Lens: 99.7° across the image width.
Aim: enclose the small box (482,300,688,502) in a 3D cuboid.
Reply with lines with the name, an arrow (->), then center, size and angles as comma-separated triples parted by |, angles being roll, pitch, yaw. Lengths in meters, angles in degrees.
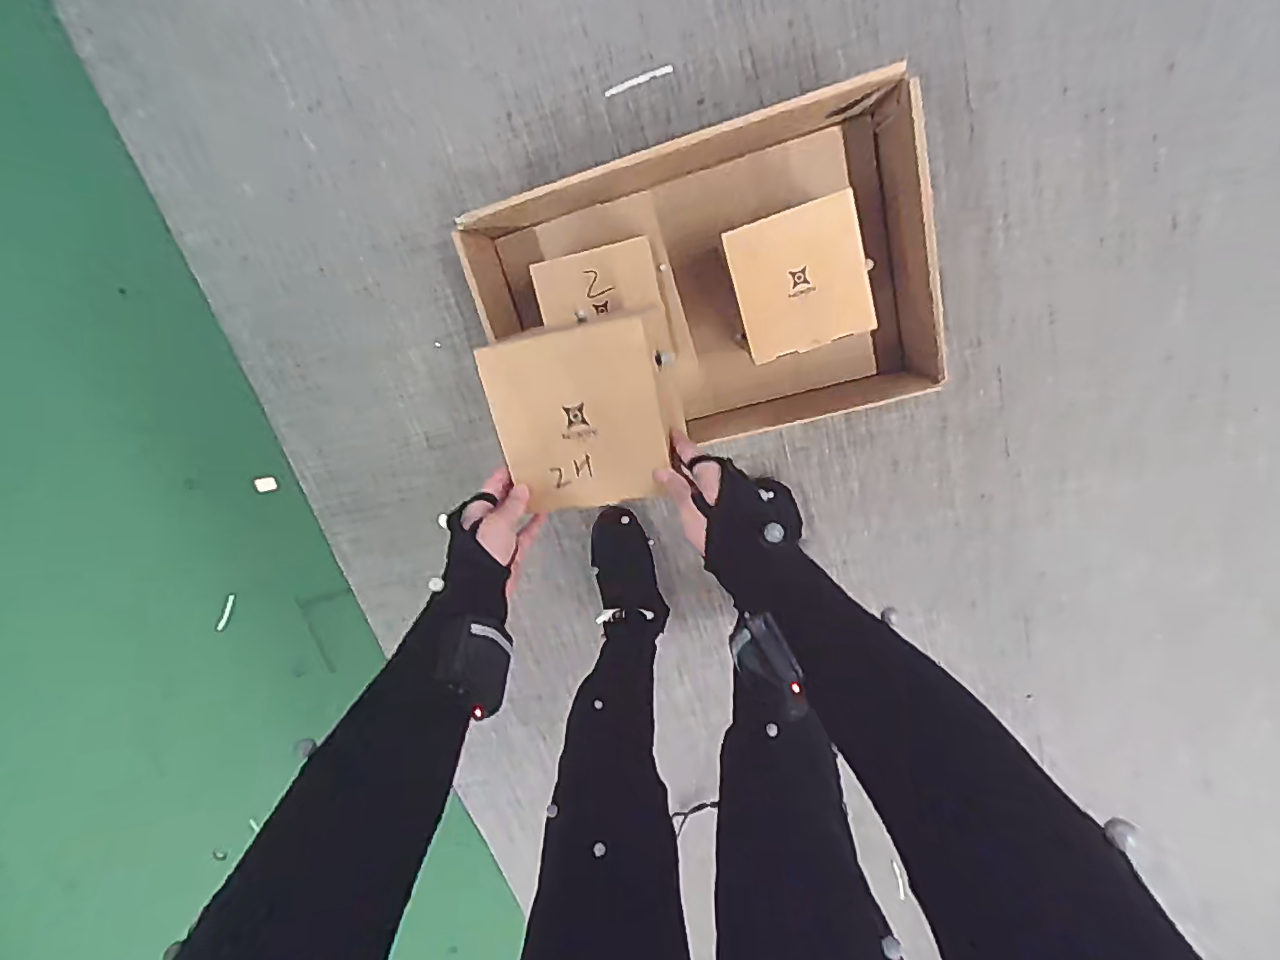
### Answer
small box -> -0.044, -0.095, 0.595 | 0.168, 0.176, 0.179 | -7, 111, 13
